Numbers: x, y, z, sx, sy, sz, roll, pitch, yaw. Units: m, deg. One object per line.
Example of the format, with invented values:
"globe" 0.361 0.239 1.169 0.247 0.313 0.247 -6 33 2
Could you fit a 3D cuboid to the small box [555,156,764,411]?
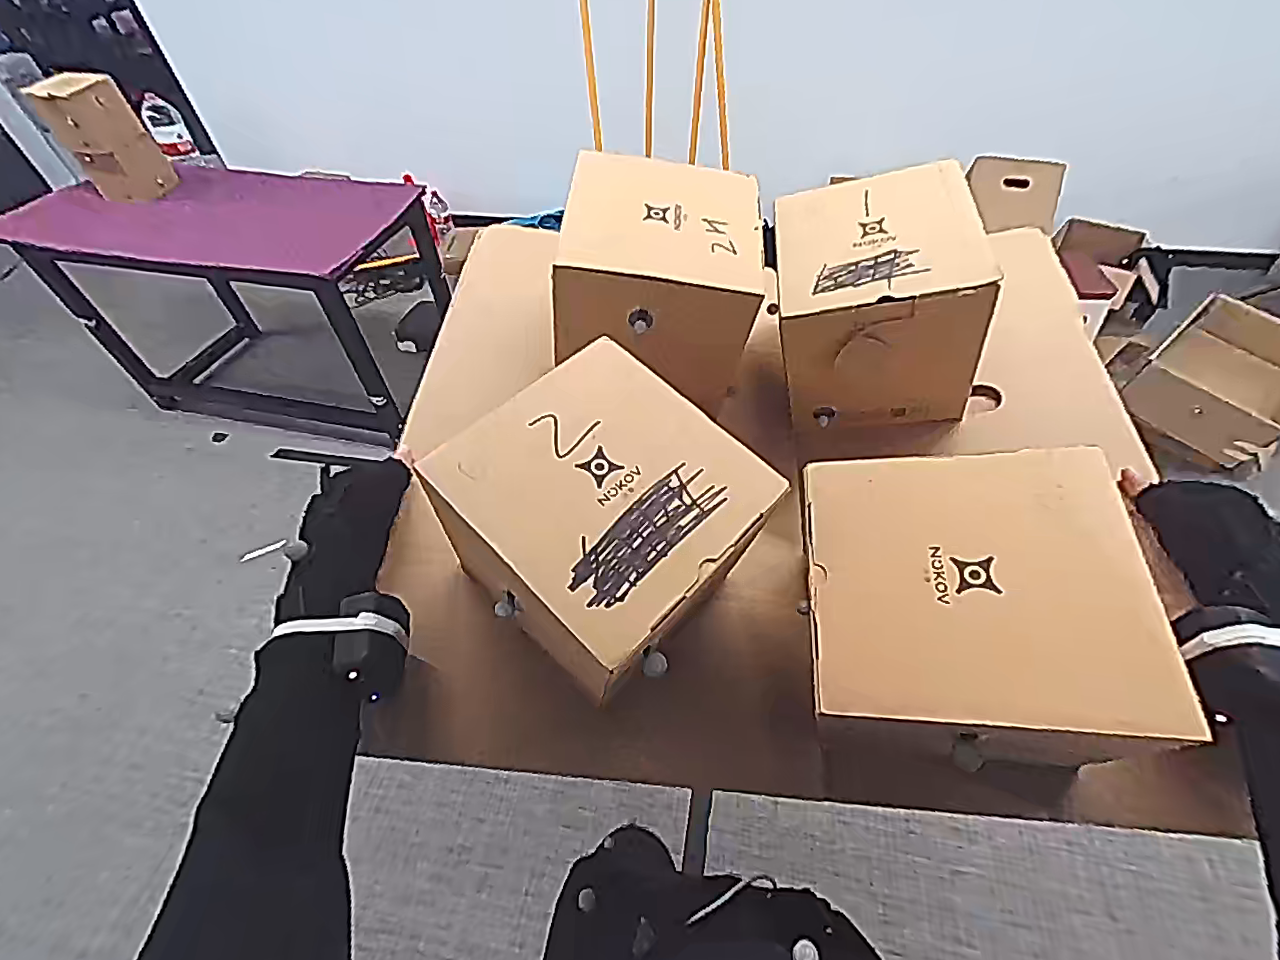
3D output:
"small box" 0.015 -0.189 0.548 0.179 0.176 0.168 8 60 -4
